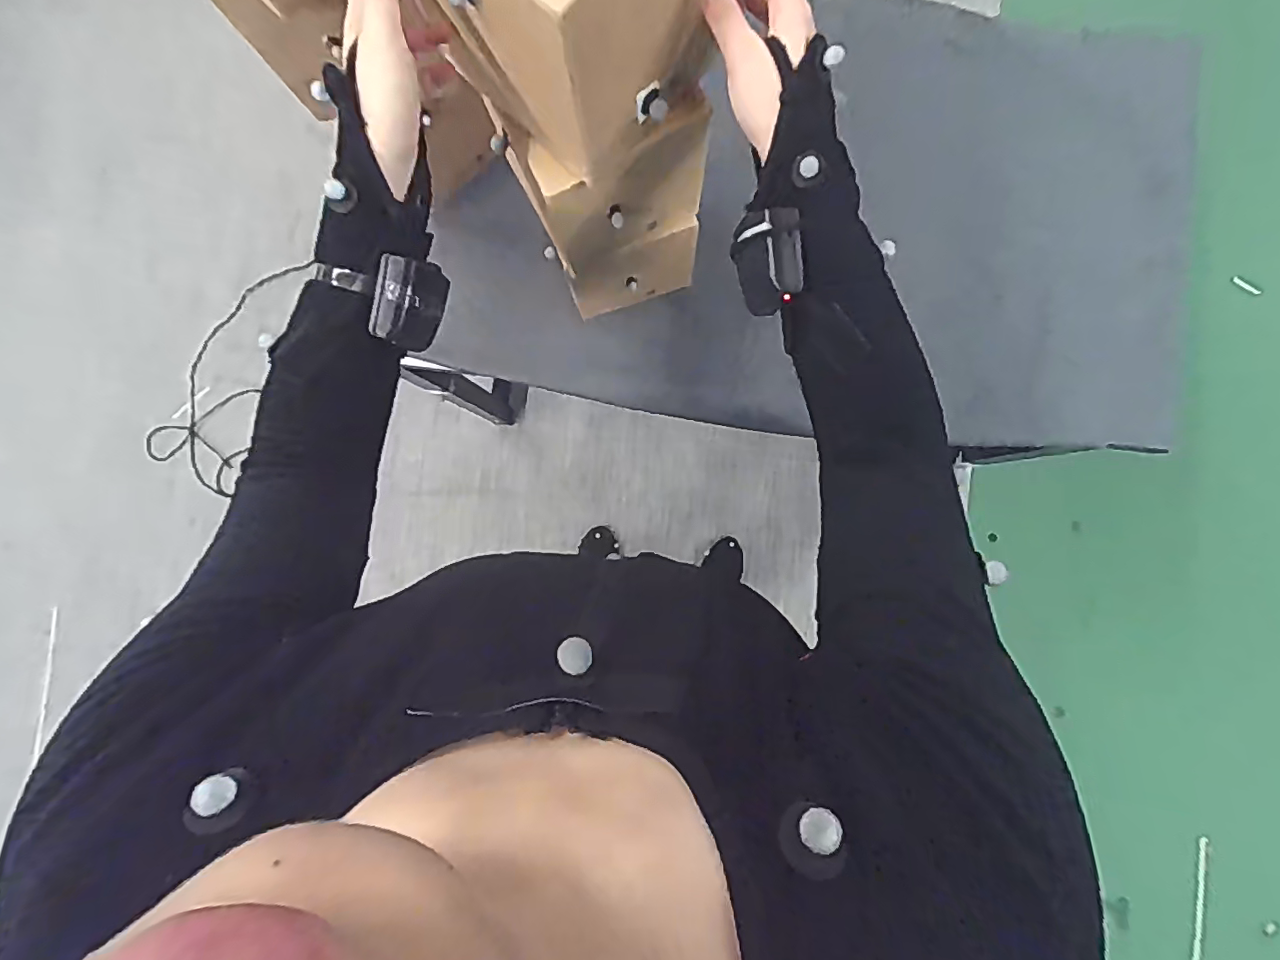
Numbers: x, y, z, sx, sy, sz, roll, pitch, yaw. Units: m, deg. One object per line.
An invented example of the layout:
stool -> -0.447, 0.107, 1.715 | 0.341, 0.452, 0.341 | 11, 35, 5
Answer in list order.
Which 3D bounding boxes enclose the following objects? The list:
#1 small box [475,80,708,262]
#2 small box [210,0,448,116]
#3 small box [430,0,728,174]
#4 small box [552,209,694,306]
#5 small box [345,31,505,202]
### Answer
small box -> -0.046, -0.349, 0.544 | 0.168, 0.176, 0.179 | -29, 86, 1
small box -> -0.318, -0.527, 0.564 | 0.179, 0.176, 0.168 | -11, 88, 2
small box -> -0.049, -0.367, 0.382 | 0.179, 0.176, 0.168 | 42, 90, 3
small box -> -0.034, -0.347, 0.707 | 0.168, 0.176, 0.179 | -18, 86, 1
small box -> -0.310, -0.524, 0.729 | 0.168, 0.176, 0.179 | -43, 87, 0
